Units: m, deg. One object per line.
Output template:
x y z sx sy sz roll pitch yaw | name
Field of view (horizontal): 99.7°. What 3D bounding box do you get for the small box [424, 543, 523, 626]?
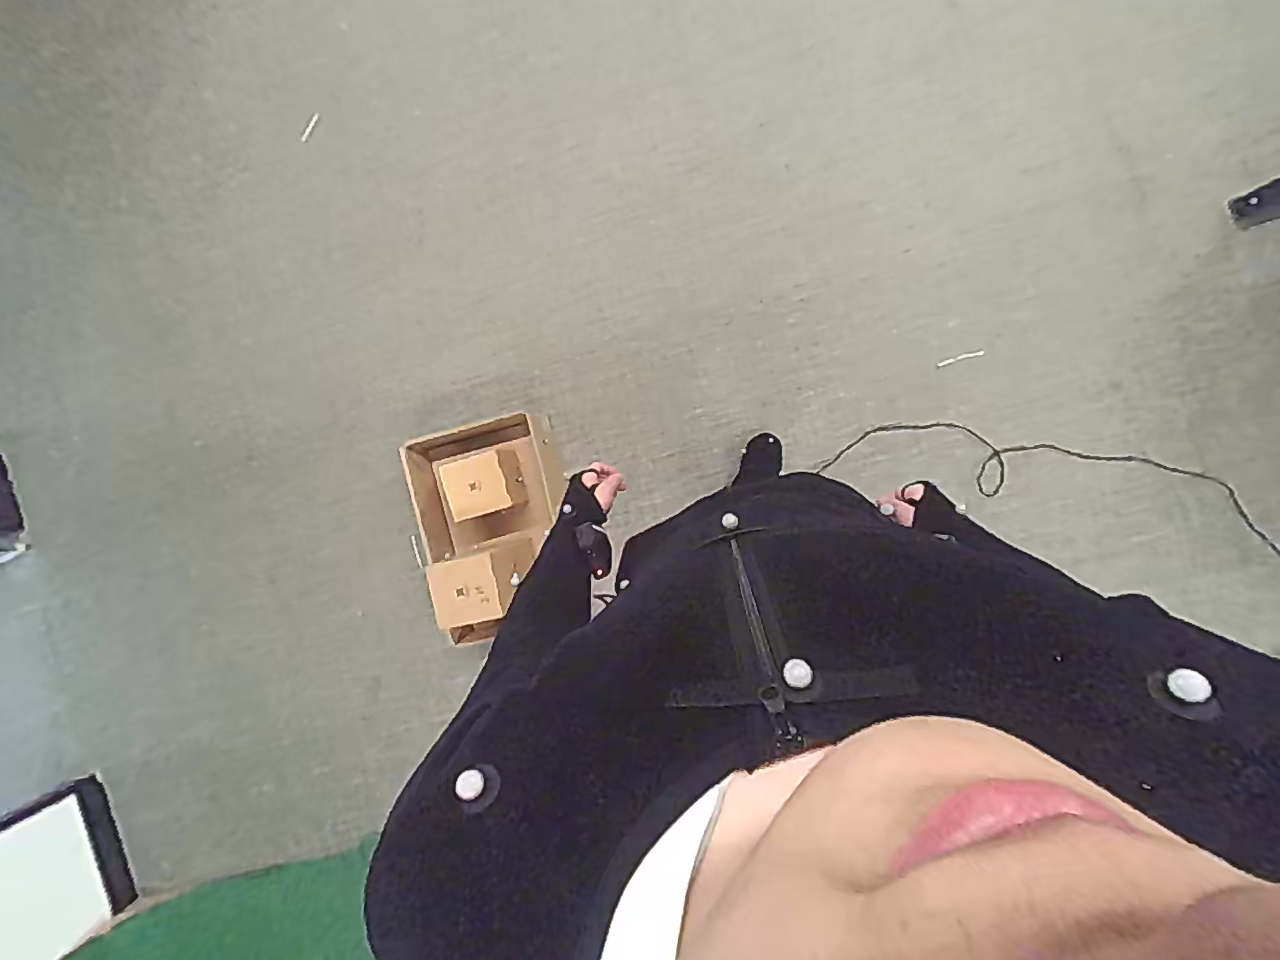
-0.429 0.269 1.416 0.179 0.176 0.168 -12 90 7 | small box
